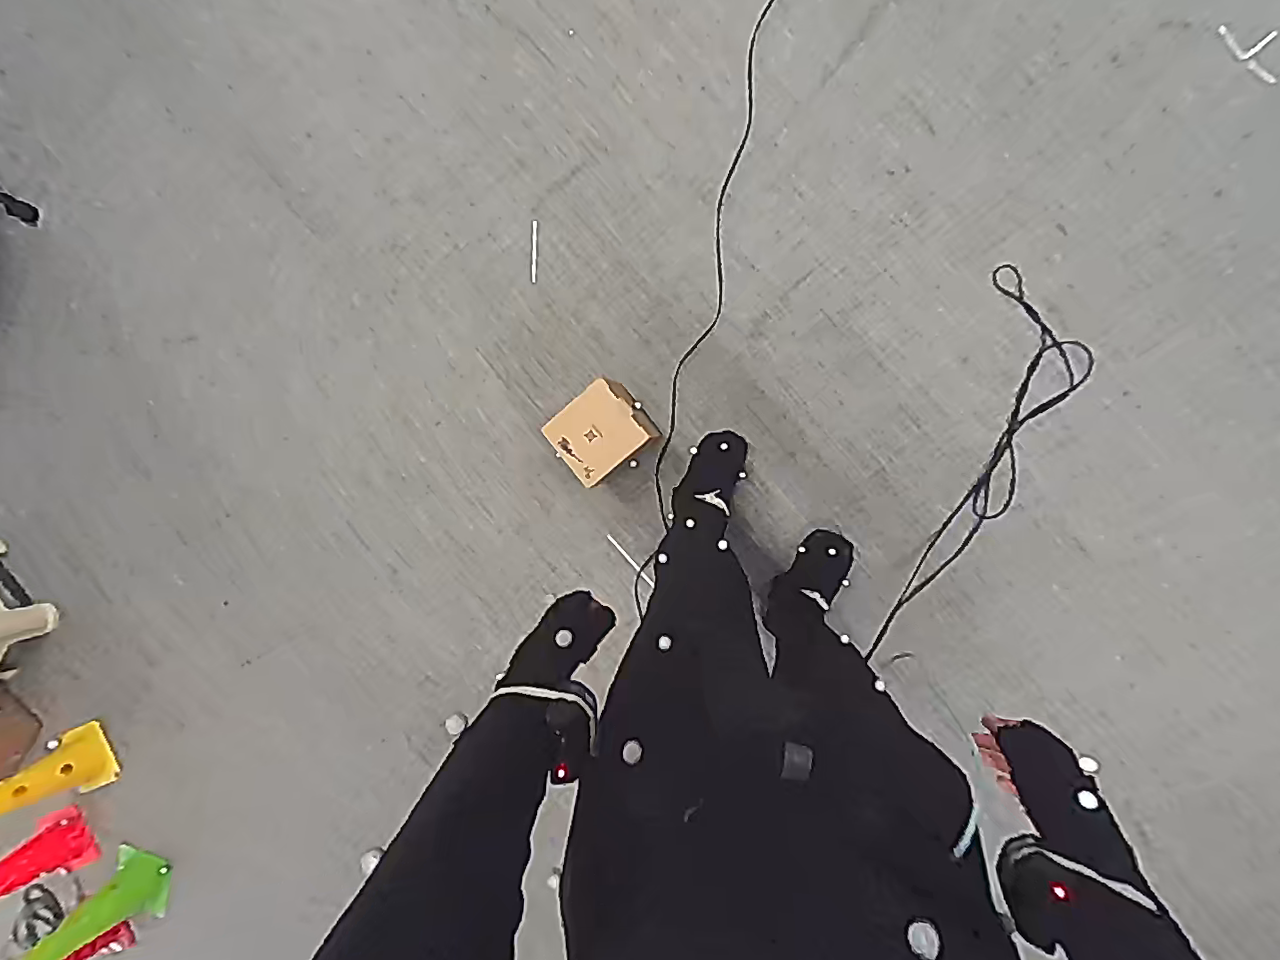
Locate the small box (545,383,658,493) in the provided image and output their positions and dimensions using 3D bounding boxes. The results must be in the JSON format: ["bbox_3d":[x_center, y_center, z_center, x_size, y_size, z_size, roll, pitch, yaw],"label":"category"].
[{"bbox_3d":[-0.074,-0.095,1.198,0.179,0.176,0.168,-38,88,12],"label":"small box"}]
